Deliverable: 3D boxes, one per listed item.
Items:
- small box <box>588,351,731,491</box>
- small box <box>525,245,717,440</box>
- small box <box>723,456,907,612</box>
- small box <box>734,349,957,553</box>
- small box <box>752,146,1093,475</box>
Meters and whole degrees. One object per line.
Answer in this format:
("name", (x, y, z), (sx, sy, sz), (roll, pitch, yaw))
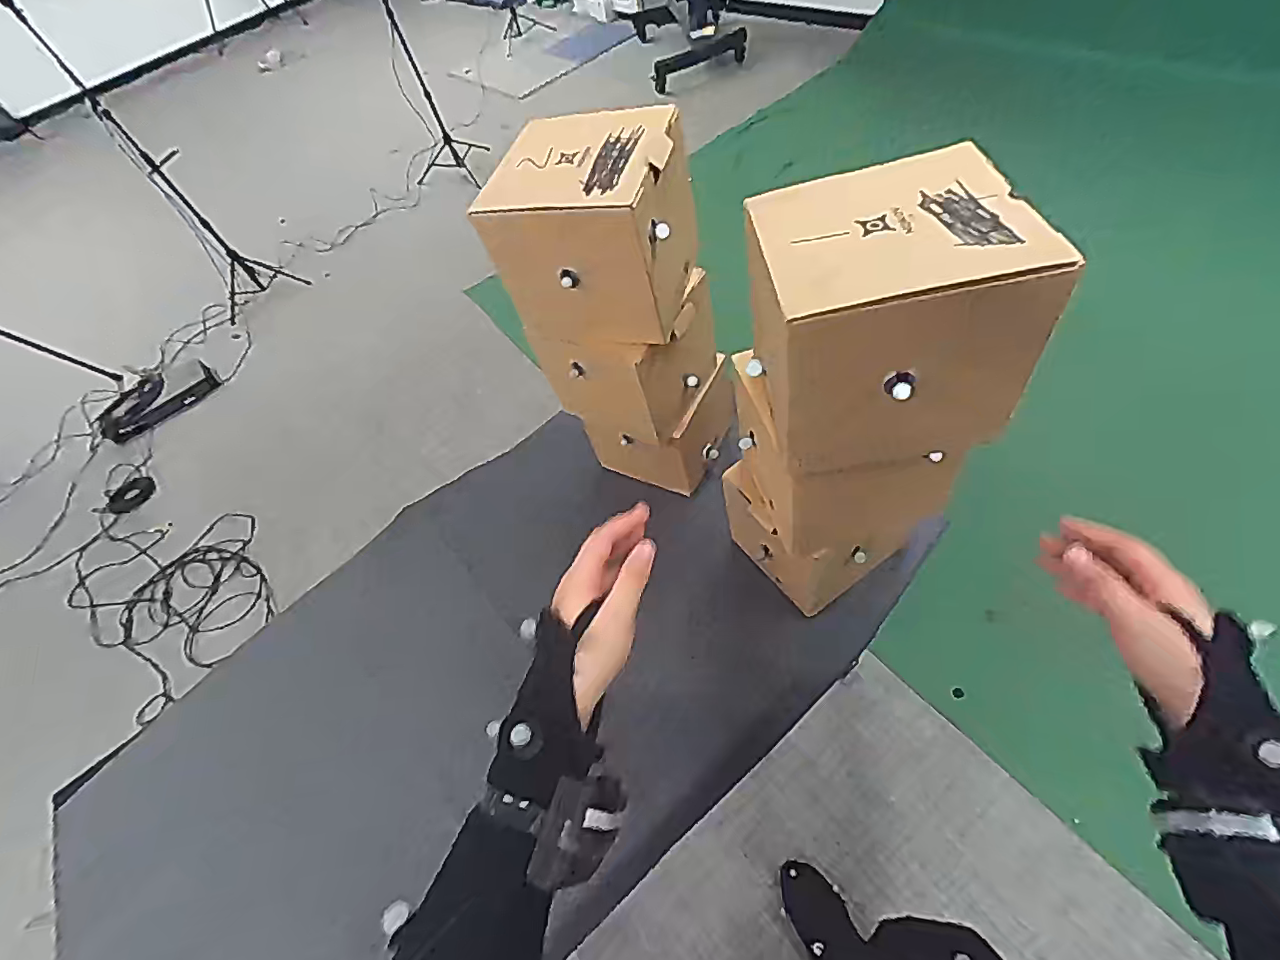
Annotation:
("small box", (0.034, -0.105, 0.863), (0.179, 0.176, 0.168), (20, 66, 22))
("small box", (-0.014, -0.178, 0.721), (0.179, 0.176, 0.168), (23, 68, 25))
("small box", (0.235, 0.043, 0.713), (0.179, 0.176, 0.168), (-34, 53, -10))
("small box", (0.213, -0.044, 0.575), (0.179, 0.176, 0.168), (-17, 52, 2))
("small box", (0.191, -0.124, 0.431), (0.179, 0.176, 0.168), (-9, 52, 9))
